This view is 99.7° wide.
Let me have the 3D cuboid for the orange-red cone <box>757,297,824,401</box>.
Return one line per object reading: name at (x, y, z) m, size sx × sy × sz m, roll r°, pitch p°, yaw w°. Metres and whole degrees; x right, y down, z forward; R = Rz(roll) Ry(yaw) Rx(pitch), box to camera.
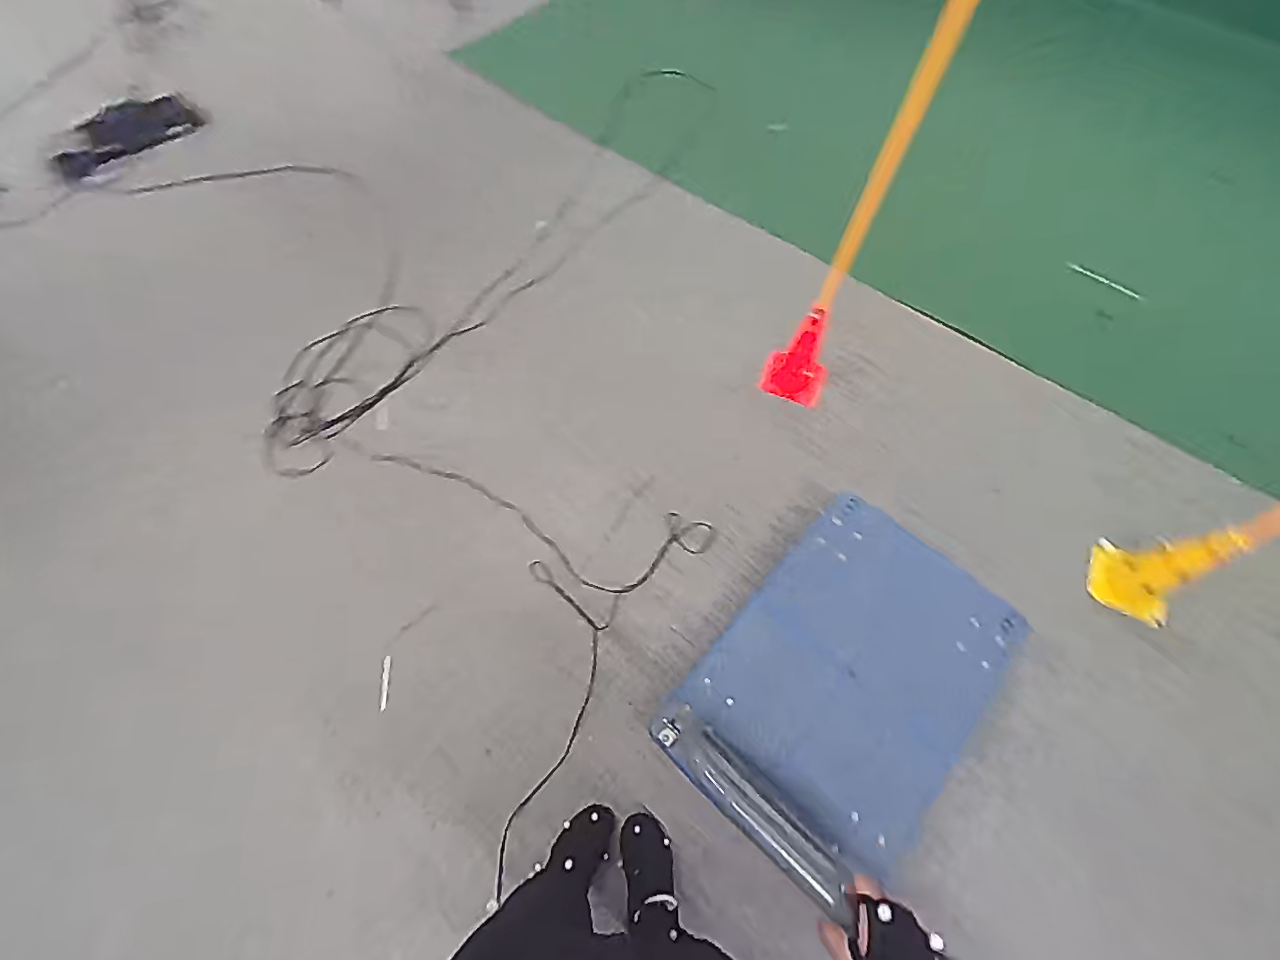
orange-red cone at (0.541, -0.462, 1.805) m, size 0.199 × 0.360 × 0.198 m, roll 22°, pitch 64°, yaw 12°
